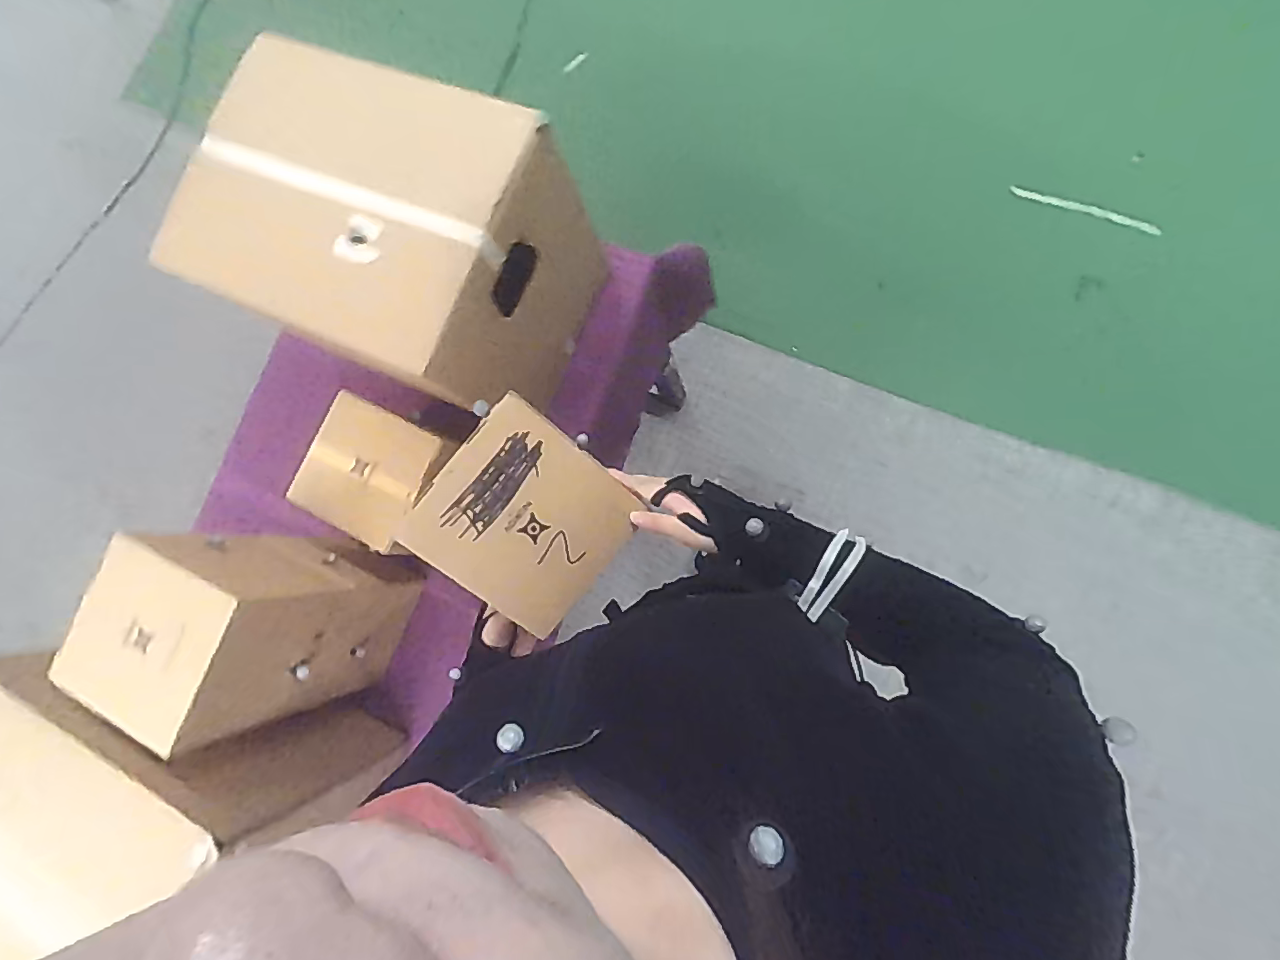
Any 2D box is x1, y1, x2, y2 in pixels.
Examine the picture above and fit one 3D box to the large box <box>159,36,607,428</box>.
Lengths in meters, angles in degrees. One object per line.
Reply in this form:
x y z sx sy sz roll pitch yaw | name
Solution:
-0.310 -0.311 0.757 0.408 0.320 0.320 23 87 11 | large box
